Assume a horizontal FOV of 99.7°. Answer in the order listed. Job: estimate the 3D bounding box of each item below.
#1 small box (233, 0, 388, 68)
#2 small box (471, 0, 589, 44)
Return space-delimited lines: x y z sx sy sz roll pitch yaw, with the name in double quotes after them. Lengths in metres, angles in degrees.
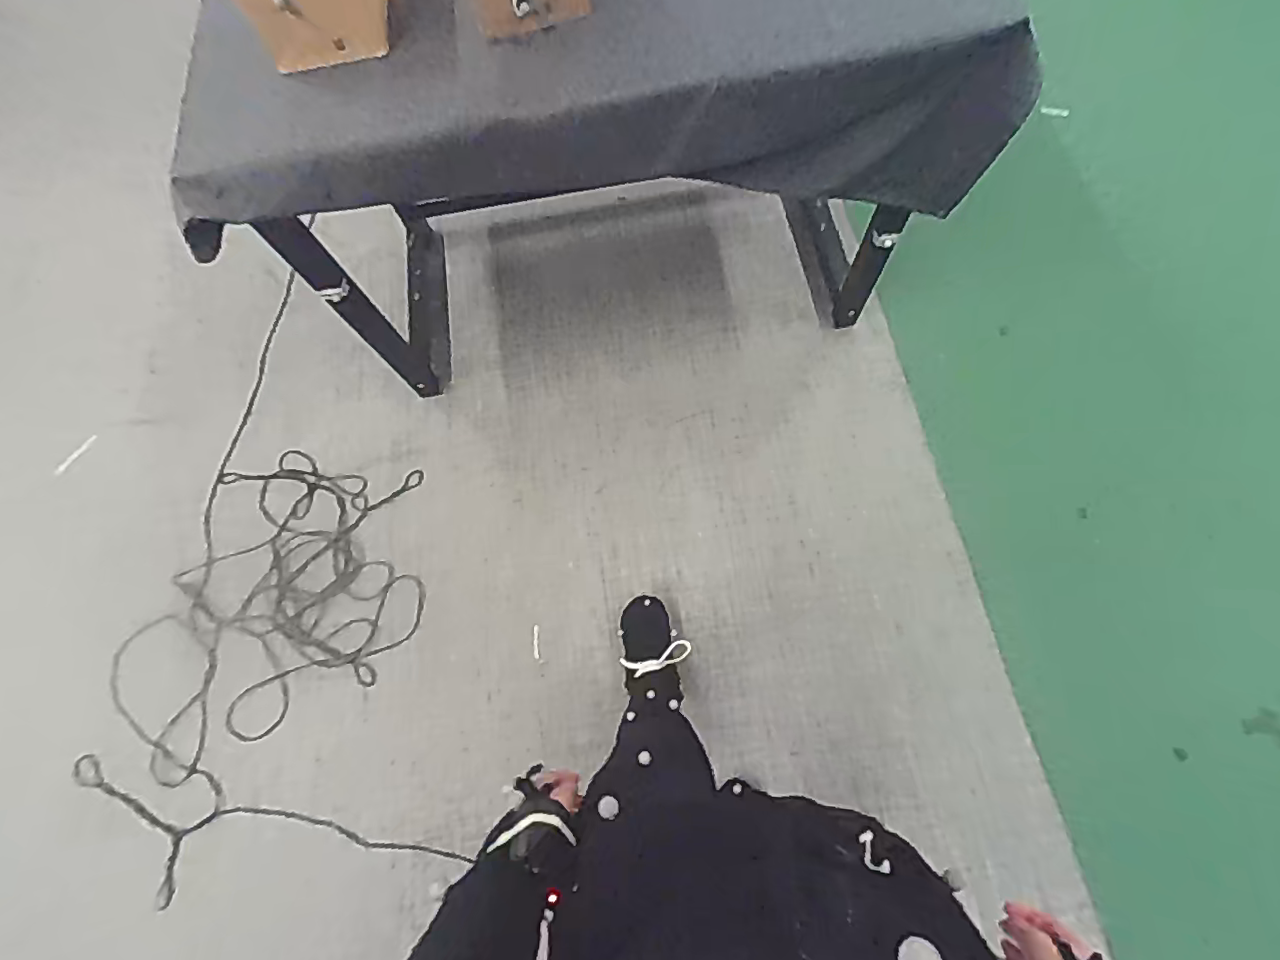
-0.474 -0.721 0.762 0.168 0.176 0.179 -11 70 0 "small box"
-0.179 -0.769 0.759 0.168 0.176 0.179 -17 71 -1 "small box"
